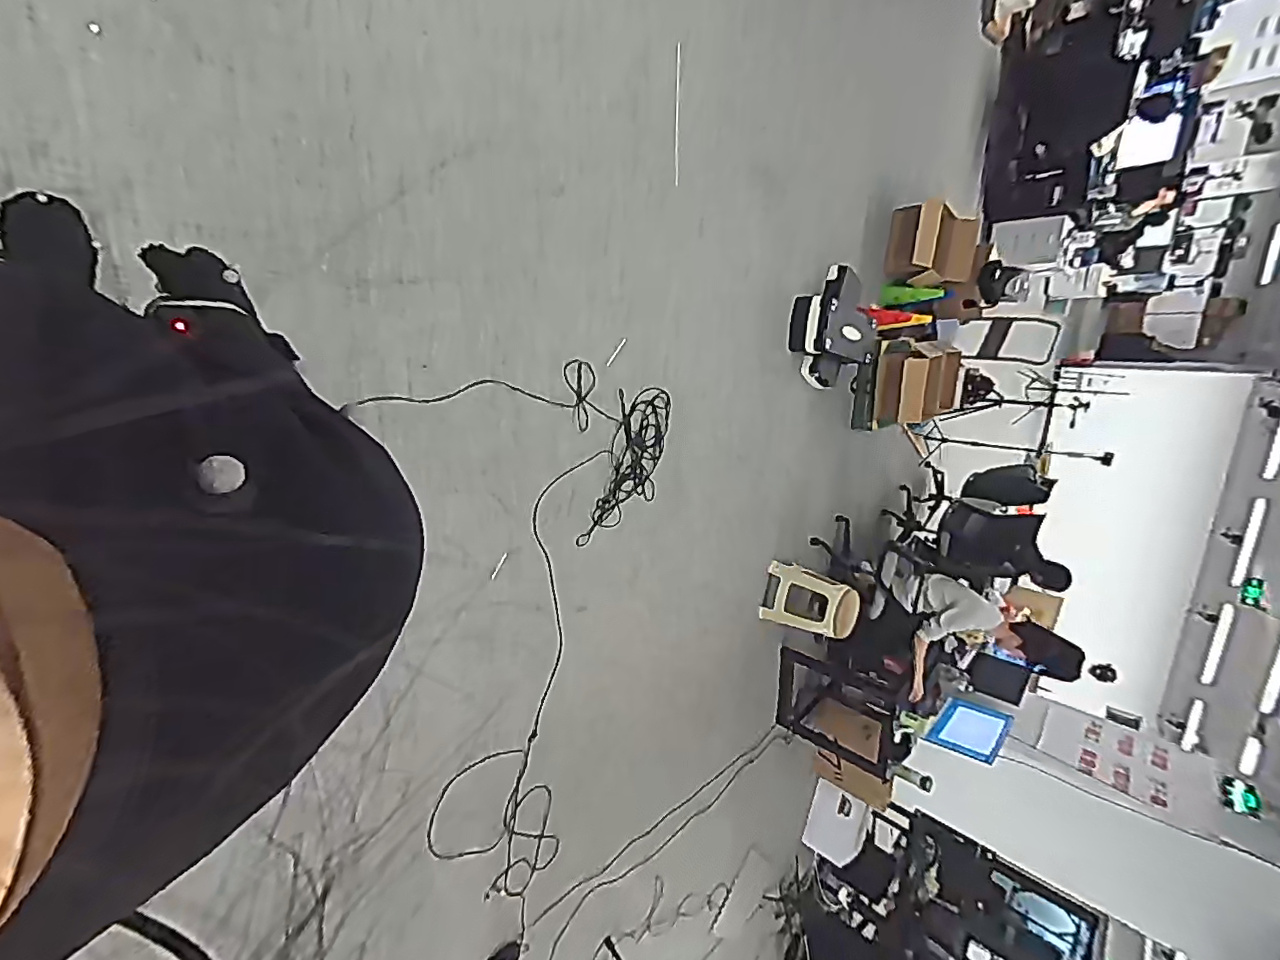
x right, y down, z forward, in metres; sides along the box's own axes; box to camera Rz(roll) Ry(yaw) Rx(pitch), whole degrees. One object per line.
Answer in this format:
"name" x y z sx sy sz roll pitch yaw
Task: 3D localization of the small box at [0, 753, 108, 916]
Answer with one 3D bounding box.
"small box" -1.163 0.679 1.051 0.168 0.176 0.179 -11 108 -45
